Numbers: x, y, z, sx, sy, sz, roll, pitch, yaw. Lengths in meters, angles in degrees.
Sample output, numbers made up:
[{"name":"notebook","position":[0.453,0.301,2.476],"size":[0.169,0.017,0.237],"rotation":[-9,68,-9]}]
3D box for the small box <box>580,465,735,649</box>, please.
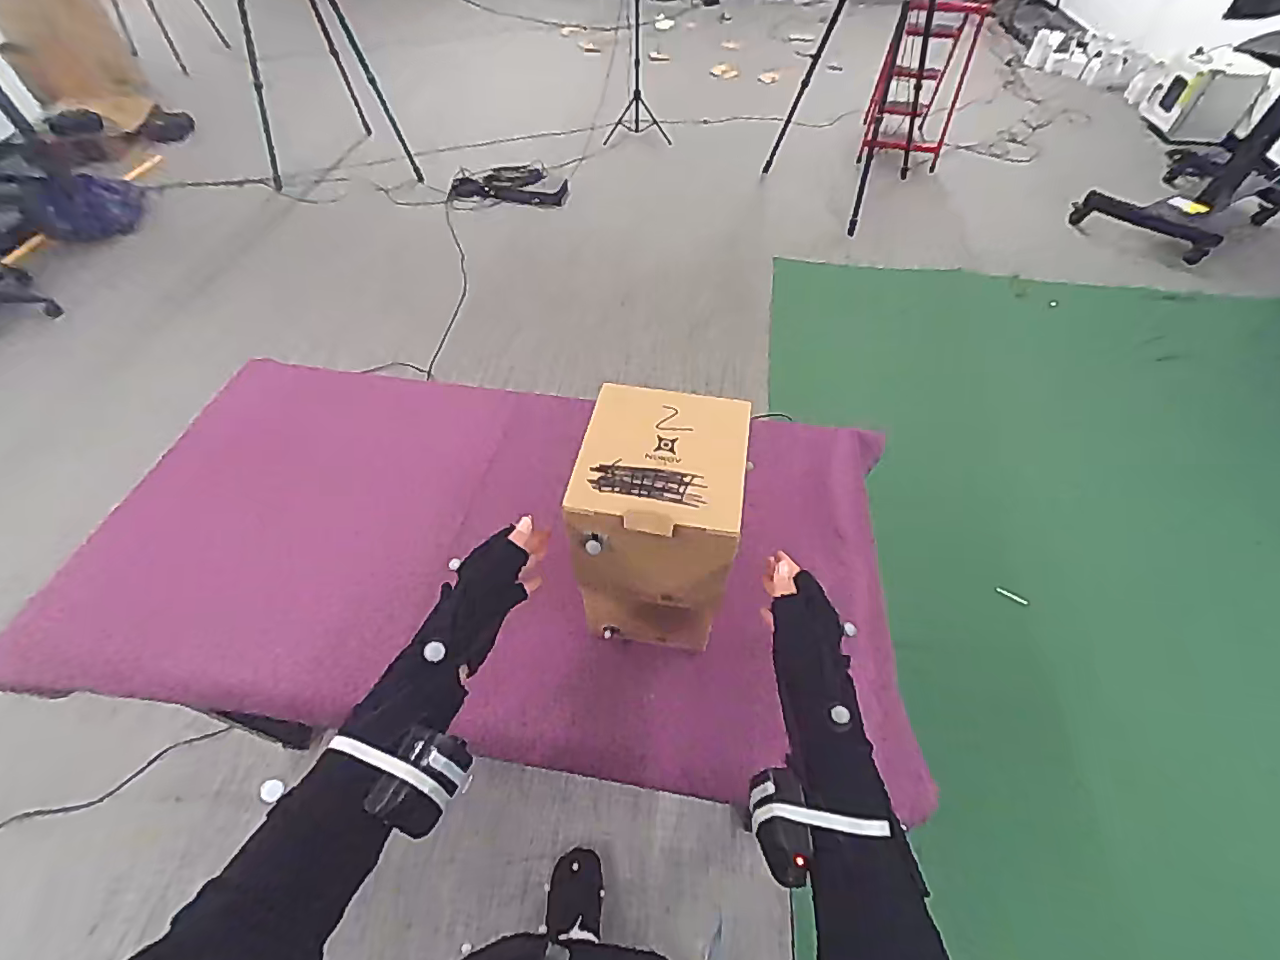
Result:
[{"name":"small box","position":[0.026,0.109,0.734],"size":[0.168,0.176,0.179],"rotation":[11,53,6]}]
